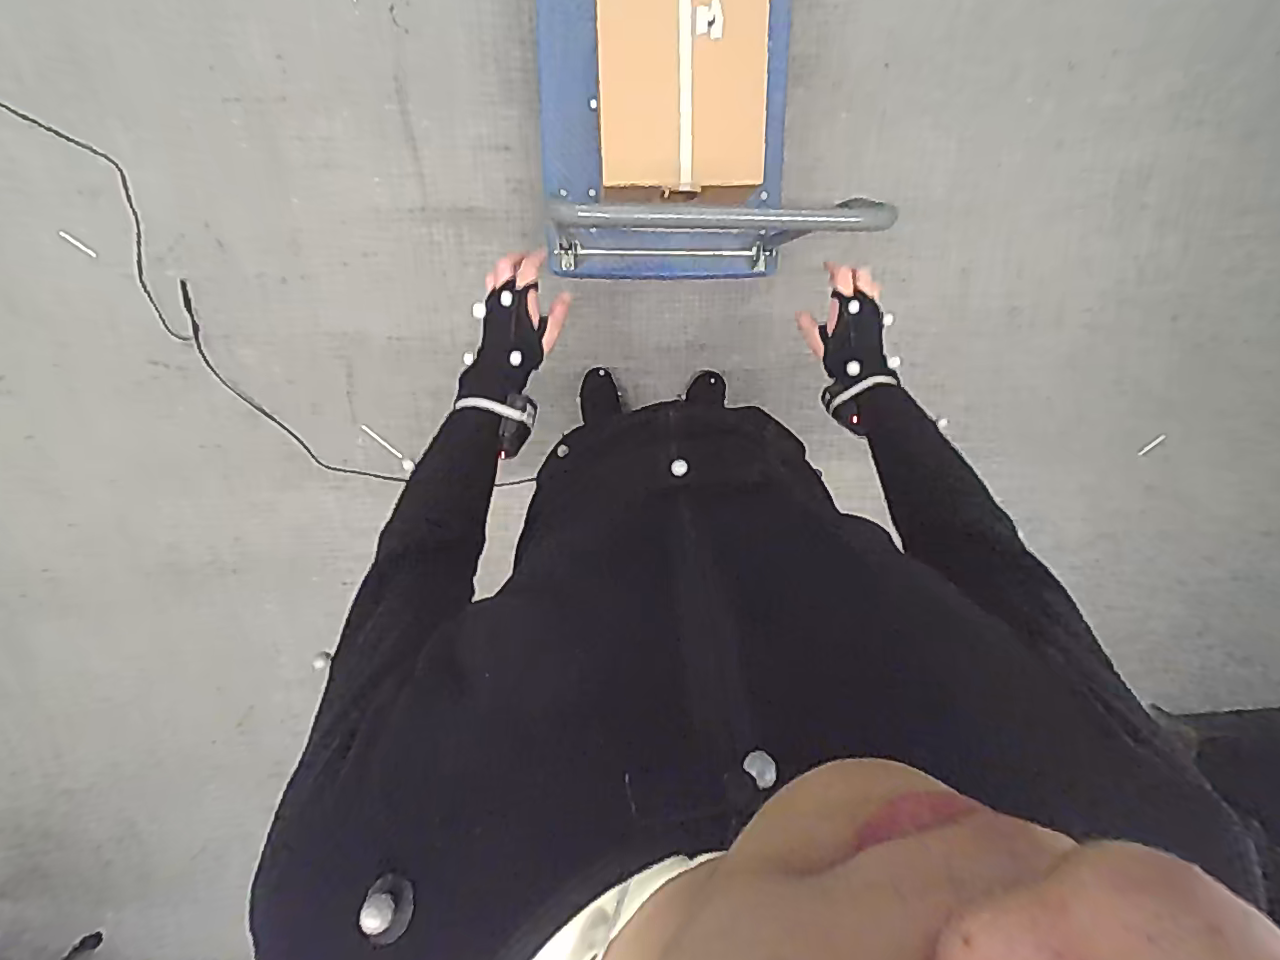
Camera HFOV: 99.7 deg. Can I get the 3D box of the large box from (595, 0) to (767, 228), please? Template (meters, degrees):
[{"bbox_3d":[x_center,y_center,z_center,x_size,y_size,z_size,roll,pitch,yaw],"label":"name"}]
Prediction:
[{"bbox_3d":[0.072,-0.783,1.134,0.320,0.320,0.408,-3,103,-4],"label":"large box"}]
